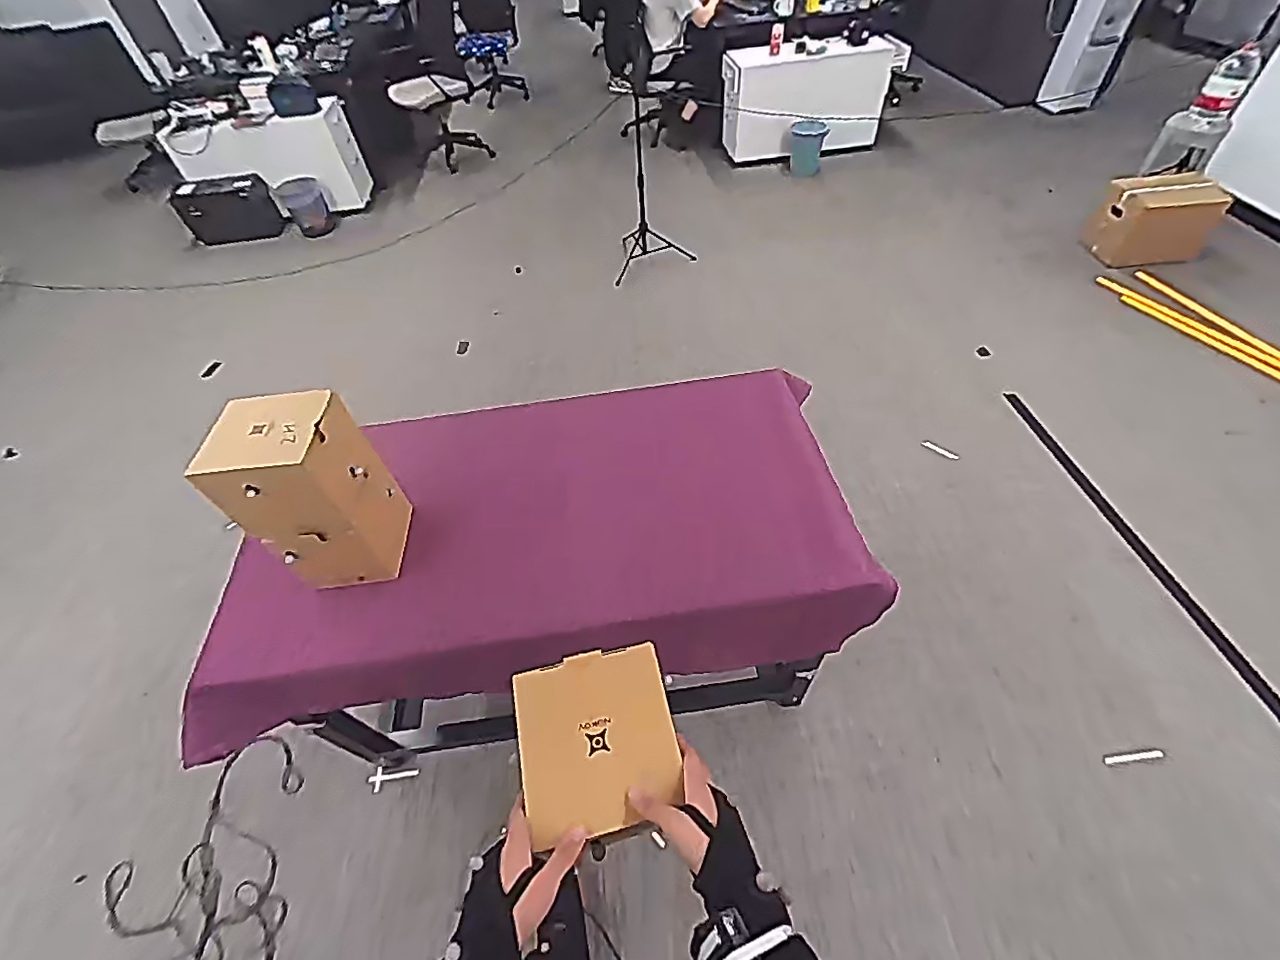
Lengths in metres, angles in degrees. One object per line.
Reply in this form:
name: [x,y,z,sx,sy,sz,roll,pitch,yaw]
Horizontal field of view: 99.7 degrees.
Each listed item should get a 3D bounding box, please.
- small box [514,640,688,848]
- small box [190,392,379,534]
small box: [-0.045,0.318,0.642,0.168,0.176,0.179,-11,53,-8]
small box: [-0.569,-0.024,0.896,0.179,0.176,0.168,-5,50,0]
